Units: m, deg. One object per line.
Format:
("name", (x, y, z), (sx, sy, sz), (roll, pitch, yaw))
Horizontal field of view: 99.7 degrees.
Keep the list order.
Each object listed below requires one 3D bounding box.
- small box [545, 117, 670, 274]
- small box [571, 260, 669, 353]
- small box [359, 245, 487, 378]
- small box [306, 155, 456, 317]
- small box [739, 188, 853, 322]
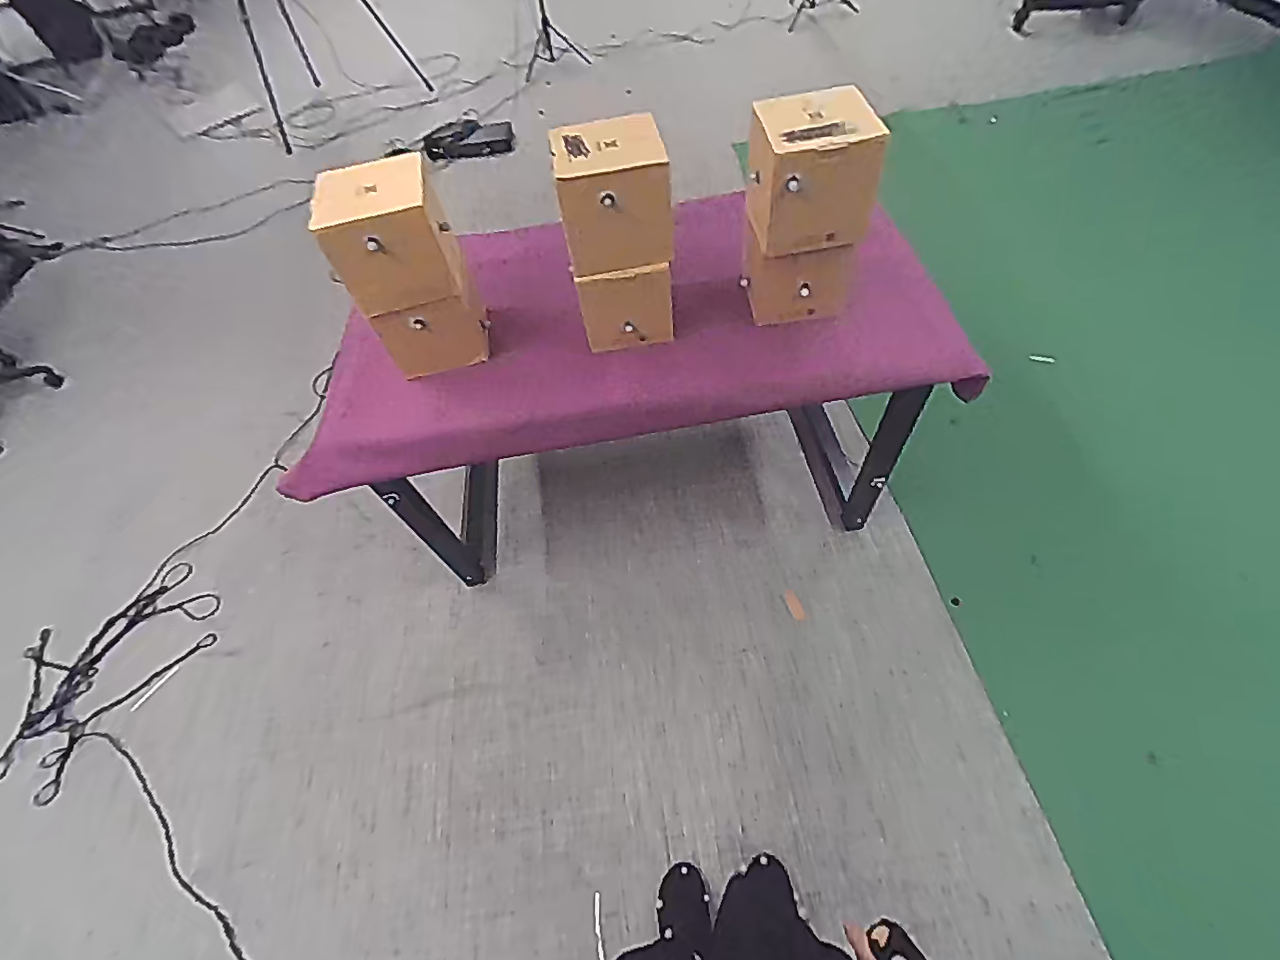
("small box", (-0.051, -0.469, 0.905), (0.179, 0.176, 0.168), (-10, 56, -1))
("small box", (-0.037, -0.372, 1.037), (0.168, 0.176, 0.179), (-8, 57, 2))
("small box", (-0.412, -0.321, 1.050), (0.179, 0.176, 0.168), (-13, 57, -2))
("small box", (-0.422, -0.406, 0.912), (0.179, 0.176, 0.168), (-15, 58, -2))
("small box", (0.285, -0.418, 1.029), (0.168, 0.176, 0.179), (-6, 57, 3))
